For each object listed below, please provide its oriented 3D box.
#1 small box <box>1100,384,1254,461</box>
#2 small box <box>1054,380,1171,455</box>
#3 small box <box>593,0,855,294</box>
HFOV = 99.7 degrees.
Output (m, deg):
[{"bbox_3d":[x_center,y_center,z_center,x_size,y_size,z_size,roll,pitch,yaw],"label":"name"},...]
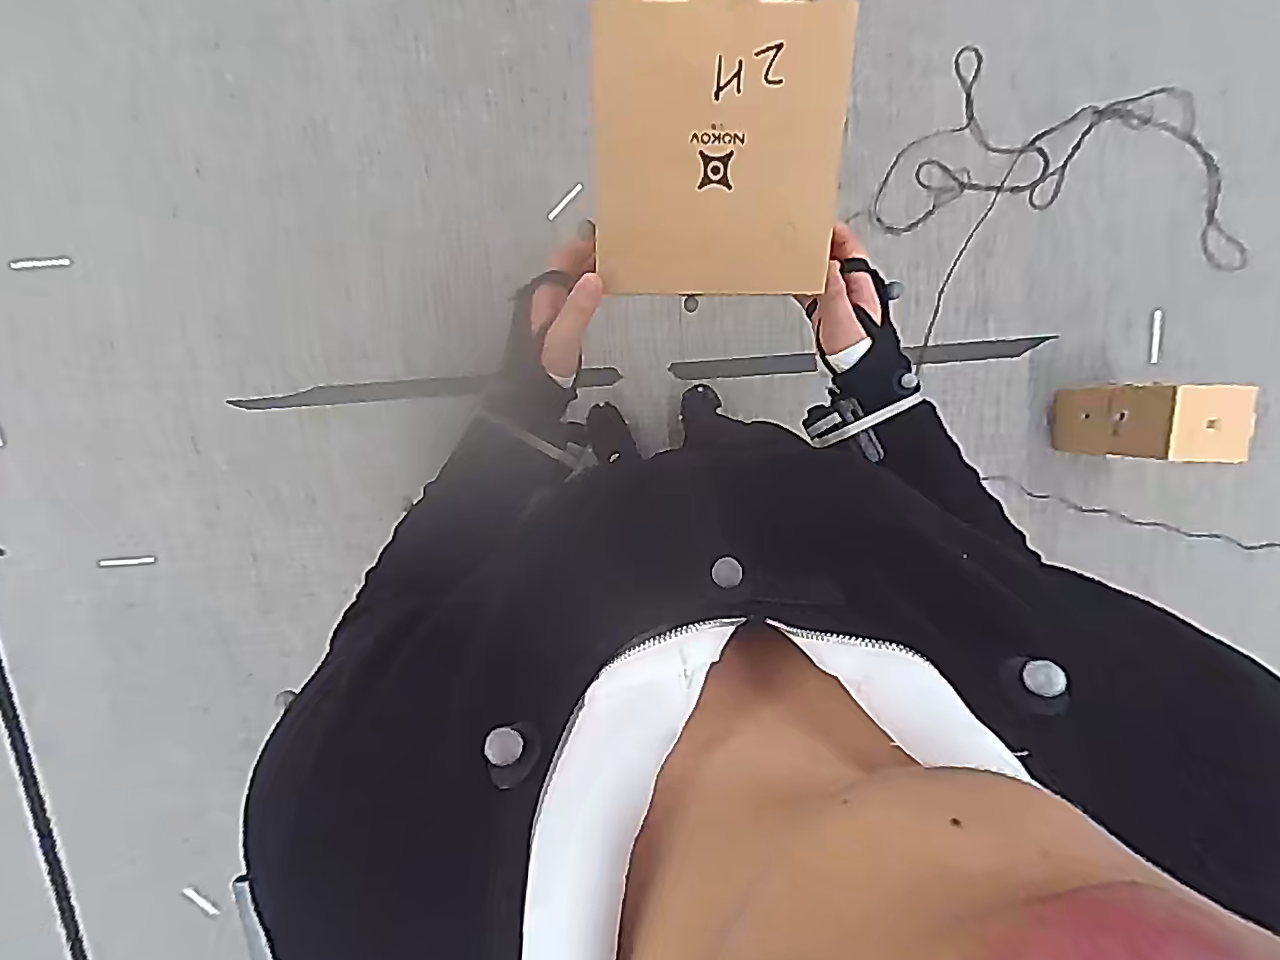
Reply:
[{"bbox_3d":[1.221,-0.135,1.241,0.179,0.176,0.168,0,97,1],"label":"small box"},{"bbox_3d":[1.216,-0.162,1.403,0.168,0.176,0.179,-4,98,0],"label":"small box"},{"bbox_3d":[0.050,-0.245,0.436,0.168,0.176,0.179,0,109,-1],"label":"small box"}]
